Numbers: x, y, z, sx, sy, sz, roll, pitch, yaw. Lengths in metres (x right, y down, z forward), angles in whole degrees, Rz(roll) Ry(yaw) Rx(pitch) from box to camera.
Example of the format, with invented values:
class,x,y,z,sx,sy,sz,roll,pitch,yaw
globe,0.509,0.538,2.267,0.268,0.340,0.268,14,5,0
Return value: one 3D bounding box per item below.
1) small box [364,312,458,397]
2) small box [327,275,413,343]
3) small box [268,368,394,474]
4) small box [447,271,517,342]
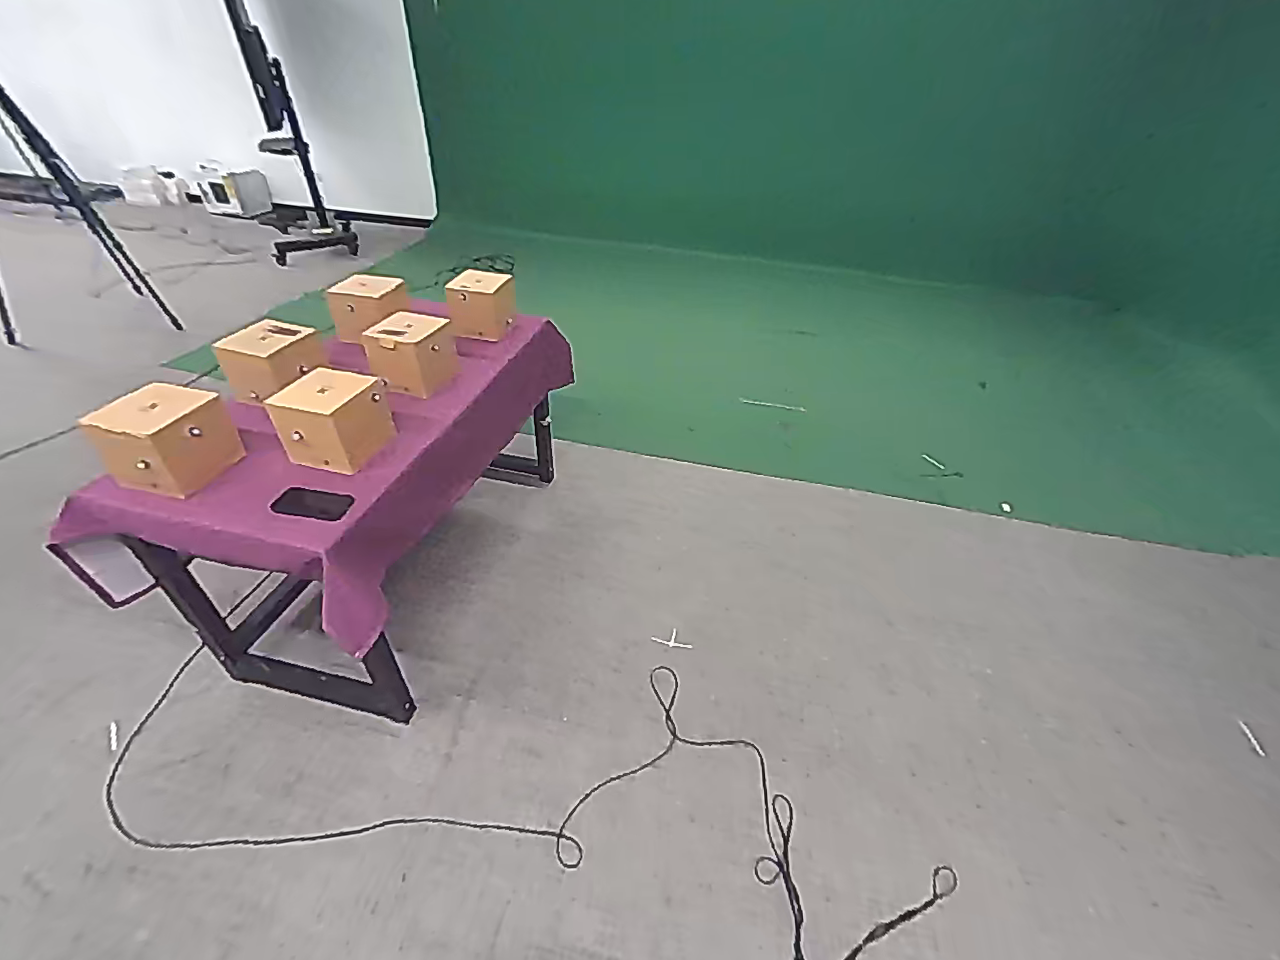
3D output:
class,x,y,z,sx,sy,sz,roll,pitch,yaw
small box,-0.635,-0.353,1.527,0.168,0.176,0.179,13,39,11
small box,-0.858,-0.544,1.744,0.179,0.176,0.168,9,40,7
small box,-0.703,-0.136,1.256,0.168,0.176,0.179,11,39,10
small box,-0.524,-0.586,1.820,0.168,0.176,0.179,10,39,8
